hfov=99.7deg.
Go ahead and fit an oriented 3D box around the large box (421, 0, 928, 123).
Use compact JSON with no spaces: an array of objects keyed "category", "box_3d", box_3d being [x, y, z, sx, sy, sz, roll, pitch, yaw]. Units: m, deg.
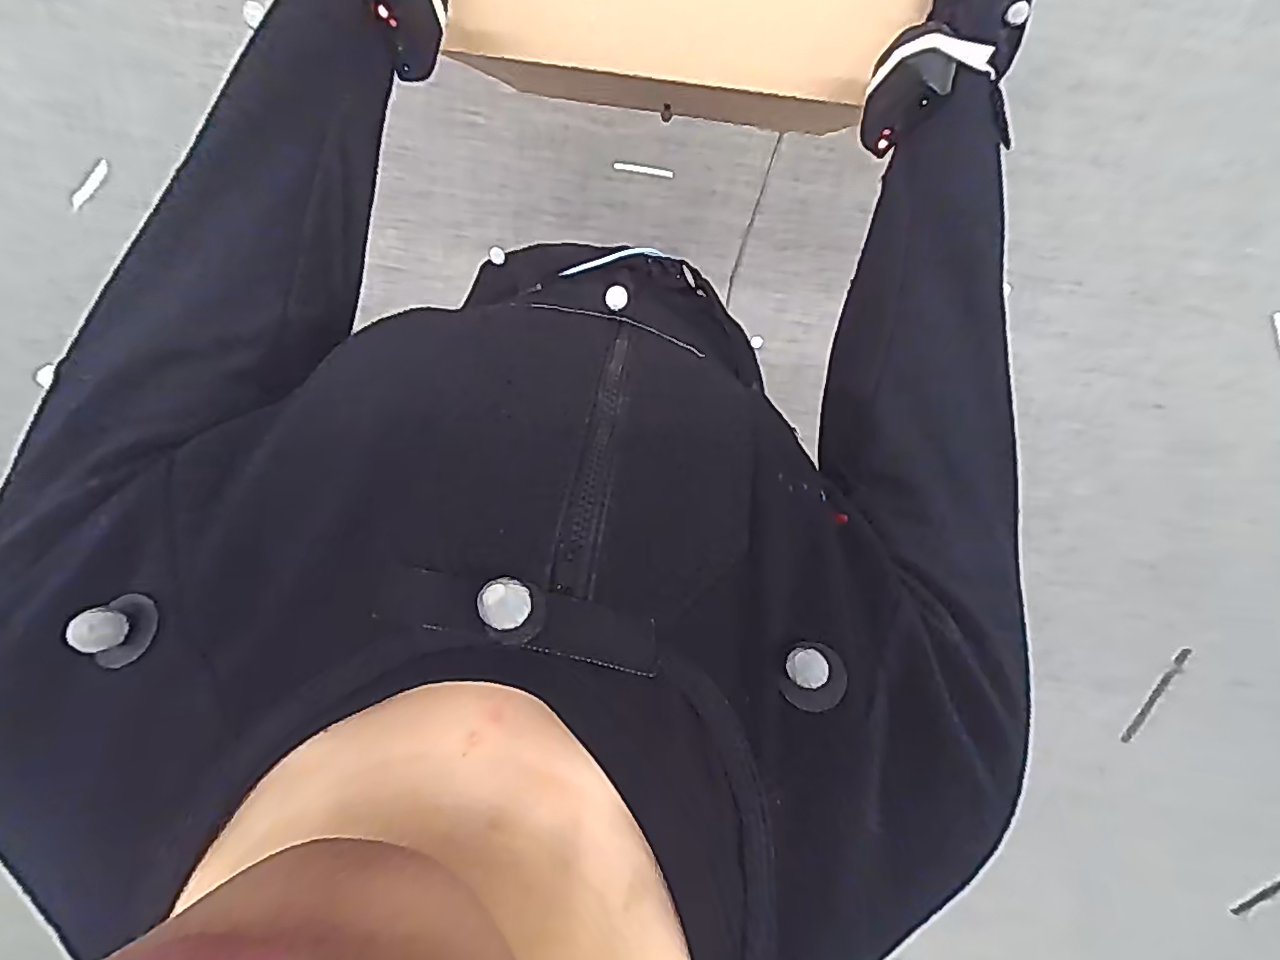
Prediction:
[{"category":"large box","box_3d":[0.048,-0.542,0.498,0.408,0.320,0.320,9,119,1]}]
